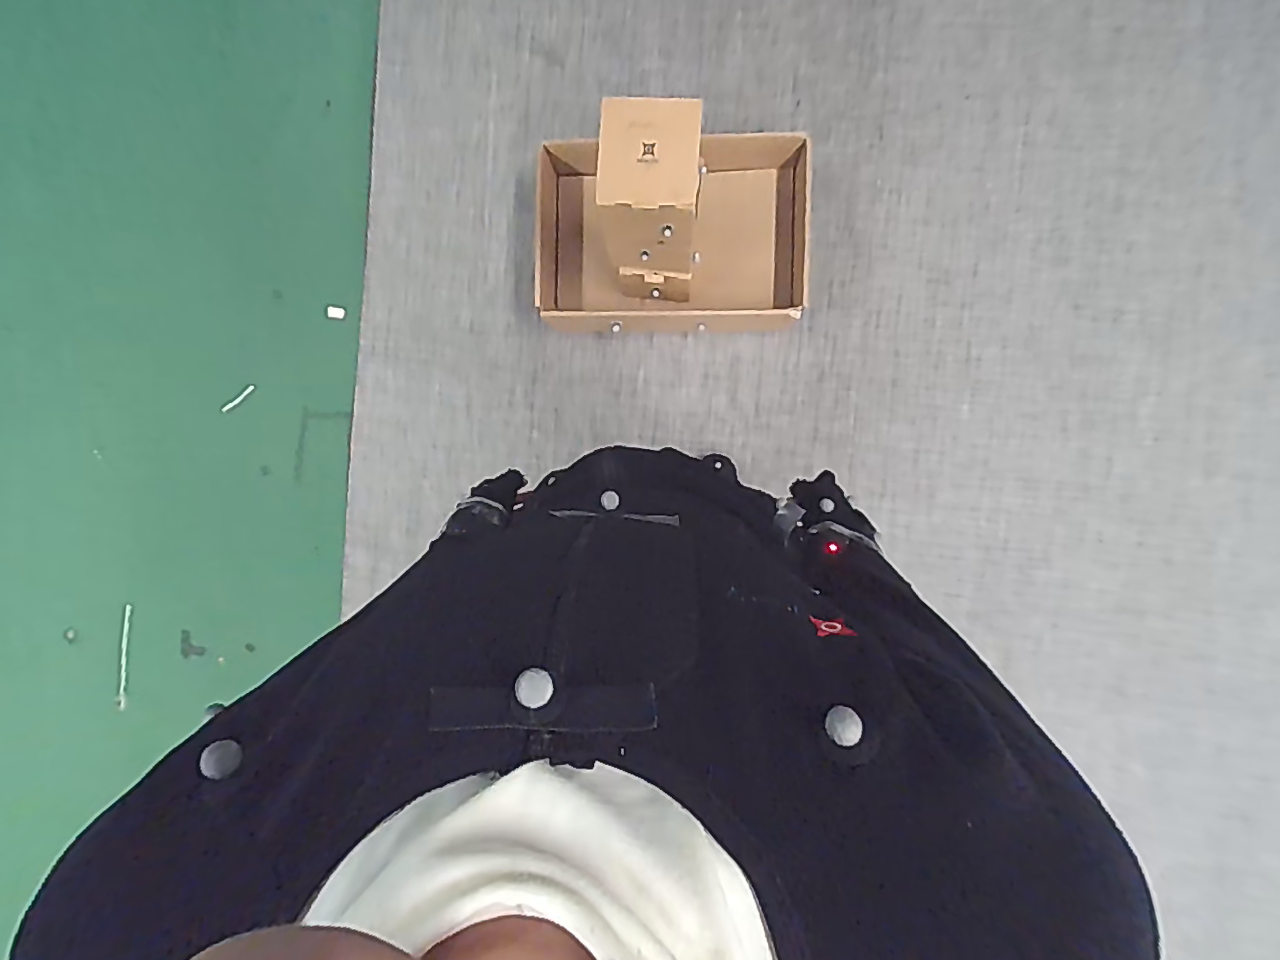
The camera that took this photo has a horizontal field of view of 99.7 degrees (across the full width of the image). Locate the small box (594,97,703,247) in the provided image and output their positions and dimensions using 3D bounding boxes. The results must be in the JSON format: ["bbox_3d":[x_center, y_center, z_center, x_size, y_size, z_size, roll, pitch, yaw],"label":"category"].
[{"bbox_3d":[0.018,-0.531,0.954,0.168,0.176,0.179,5,90,3],"label":"small box"}]

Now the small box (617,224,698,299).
[{"bbox_3d":[0.047,-0.541,1.279,0.168,0.176,0.179,8,93,4],"label":"small box"}]

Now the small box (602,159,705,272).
[{"bbox_3d":[0.031,-0.546,1.115,0.179,0.176,0.168,10,92,5],"label":"small box"}]
